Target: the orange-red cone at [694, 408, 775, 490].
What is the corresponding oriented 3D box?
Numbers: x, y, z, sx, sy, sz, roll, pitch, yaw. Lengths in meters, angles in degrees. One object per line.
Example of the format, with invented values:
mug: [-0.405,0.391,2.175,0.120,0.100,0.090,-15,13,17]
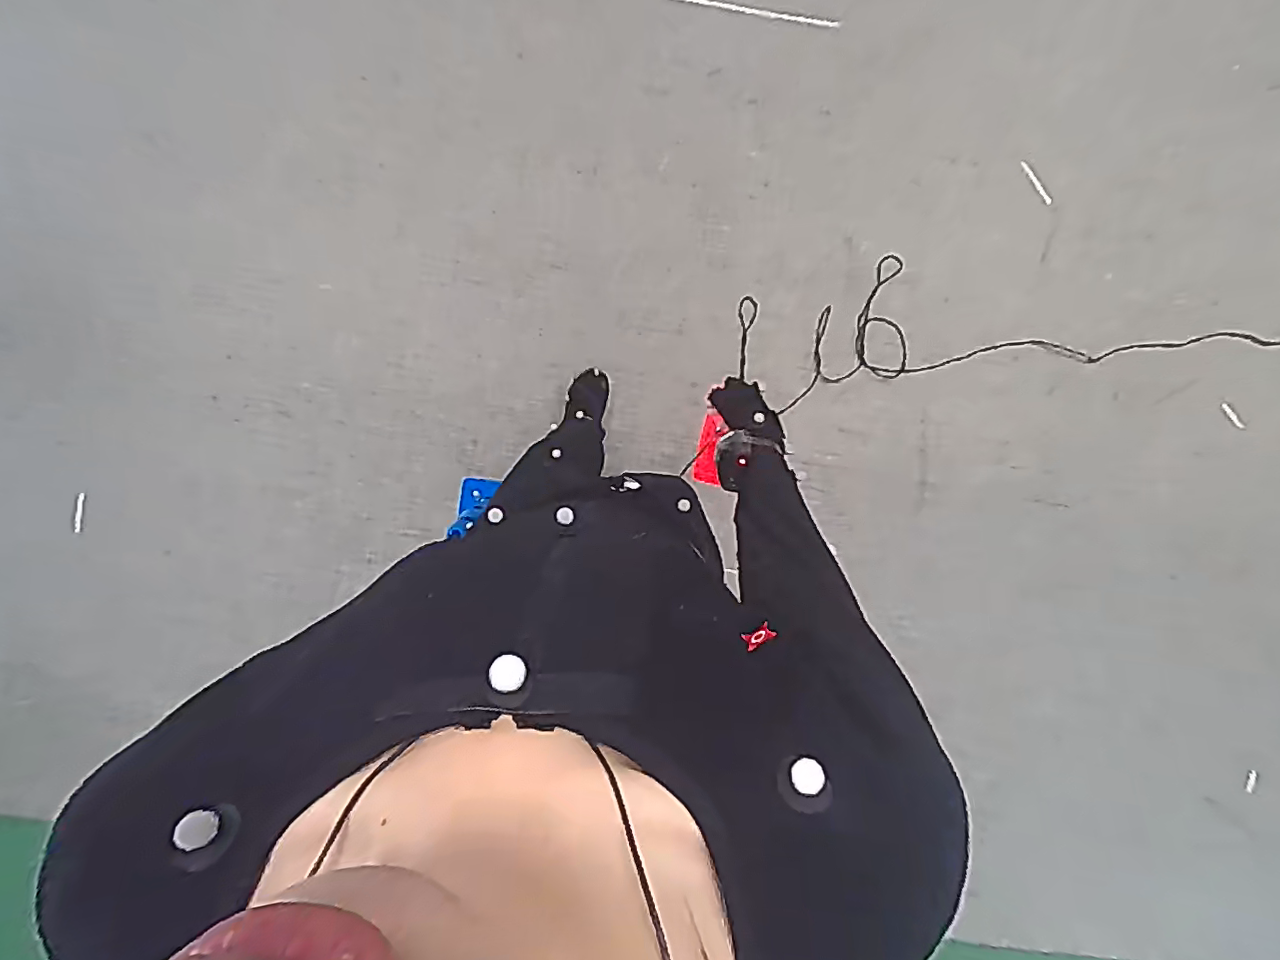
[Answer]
orange-red cone: [0.265,-0.074,1.333,0.198,0.360,0.199,14,94,-2]
